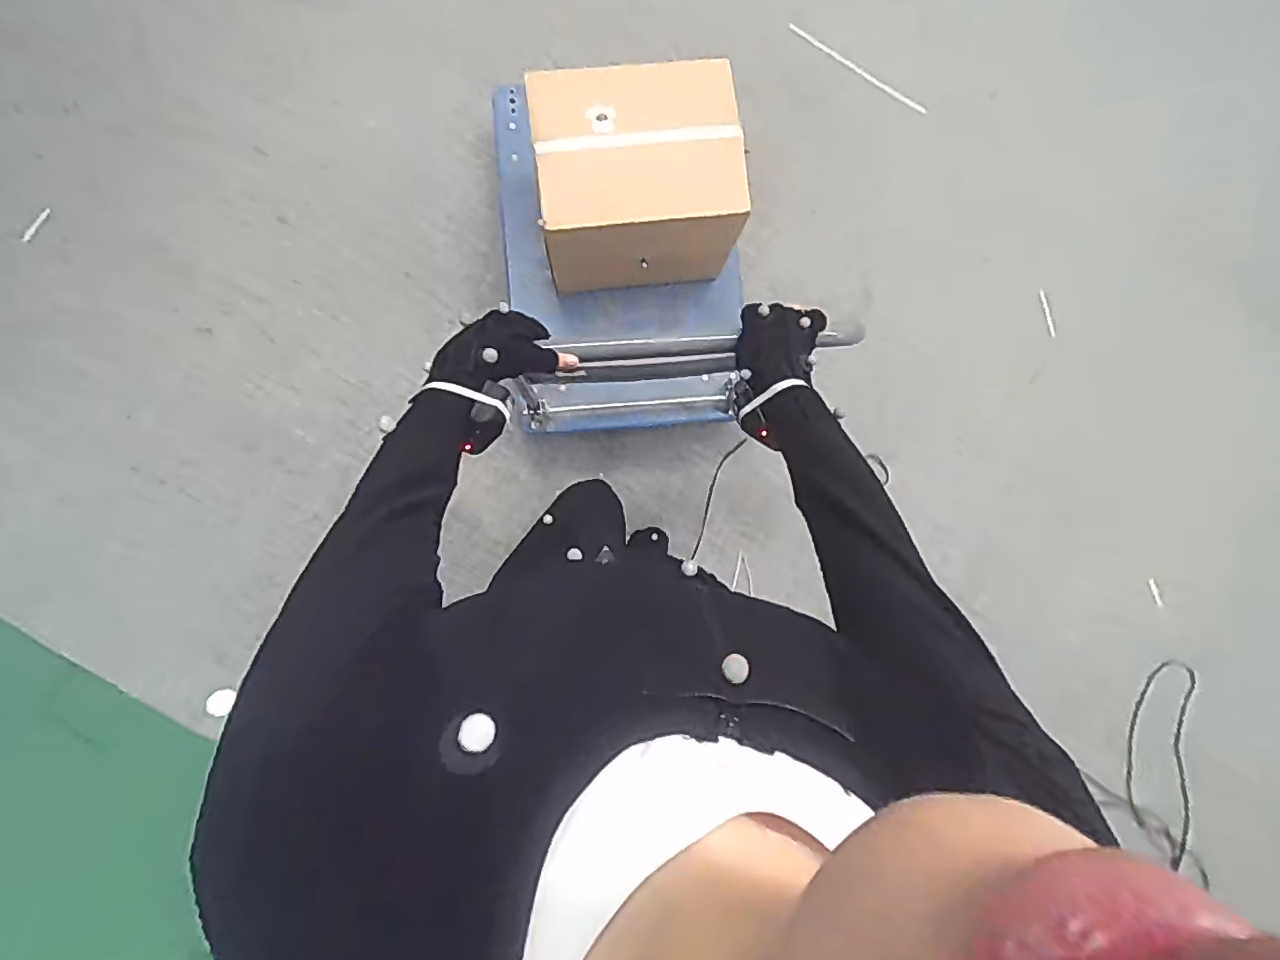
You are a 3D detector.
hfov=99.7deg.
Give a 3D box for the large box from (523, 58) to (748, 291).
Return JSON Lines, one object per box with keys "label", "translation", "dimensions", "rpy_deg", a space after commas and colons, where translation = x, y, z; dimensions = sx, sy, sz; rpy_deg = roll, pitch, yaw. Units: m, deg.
{"label": "large box", "translation": [-0.016, -0.640, 1.187], "dimensions": [0.408, 0.320, 0.320], "rpy_deg": [-8, 87, -4]}
